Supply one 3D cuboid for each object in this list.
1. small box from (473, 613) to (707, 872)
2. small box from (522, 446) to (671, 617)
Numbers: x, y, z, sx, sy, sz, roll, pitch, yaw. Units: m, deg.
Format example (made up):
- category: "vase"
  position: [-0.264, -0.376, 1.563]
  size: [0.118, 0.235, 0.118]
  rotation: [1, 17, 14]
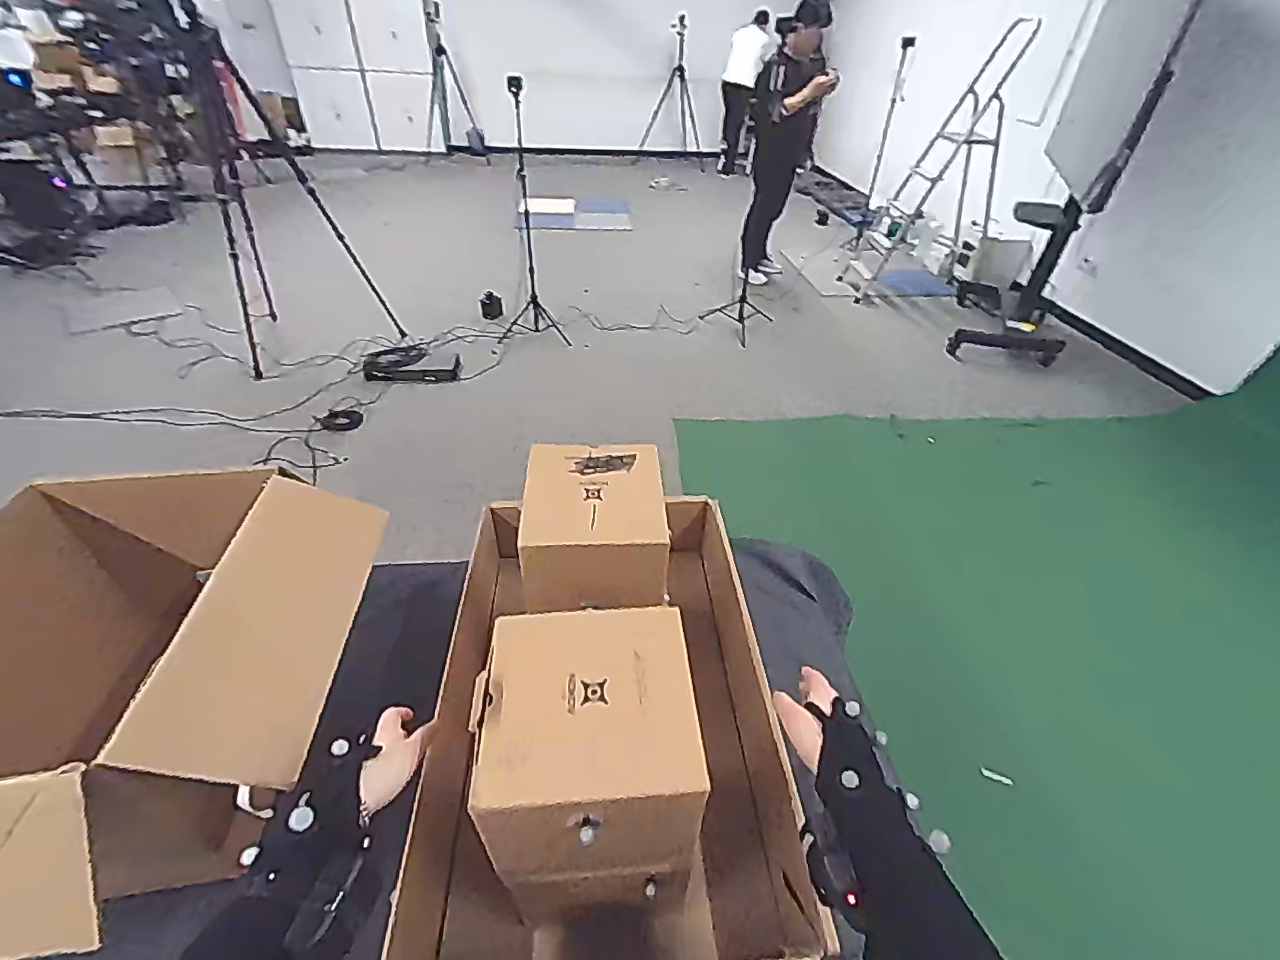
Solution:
- category: "small box"
  position: [-0.042, 0.244, 0.506]
  size: [0.179, 0.176, 0.168]
  rotation: [0, 40, -4]
- category: "small box"
  position: [-0.055, 0.074, 0.699]
  size: [0.168, 0.176, 0.179]
  rotation: [0, 43, -4]
